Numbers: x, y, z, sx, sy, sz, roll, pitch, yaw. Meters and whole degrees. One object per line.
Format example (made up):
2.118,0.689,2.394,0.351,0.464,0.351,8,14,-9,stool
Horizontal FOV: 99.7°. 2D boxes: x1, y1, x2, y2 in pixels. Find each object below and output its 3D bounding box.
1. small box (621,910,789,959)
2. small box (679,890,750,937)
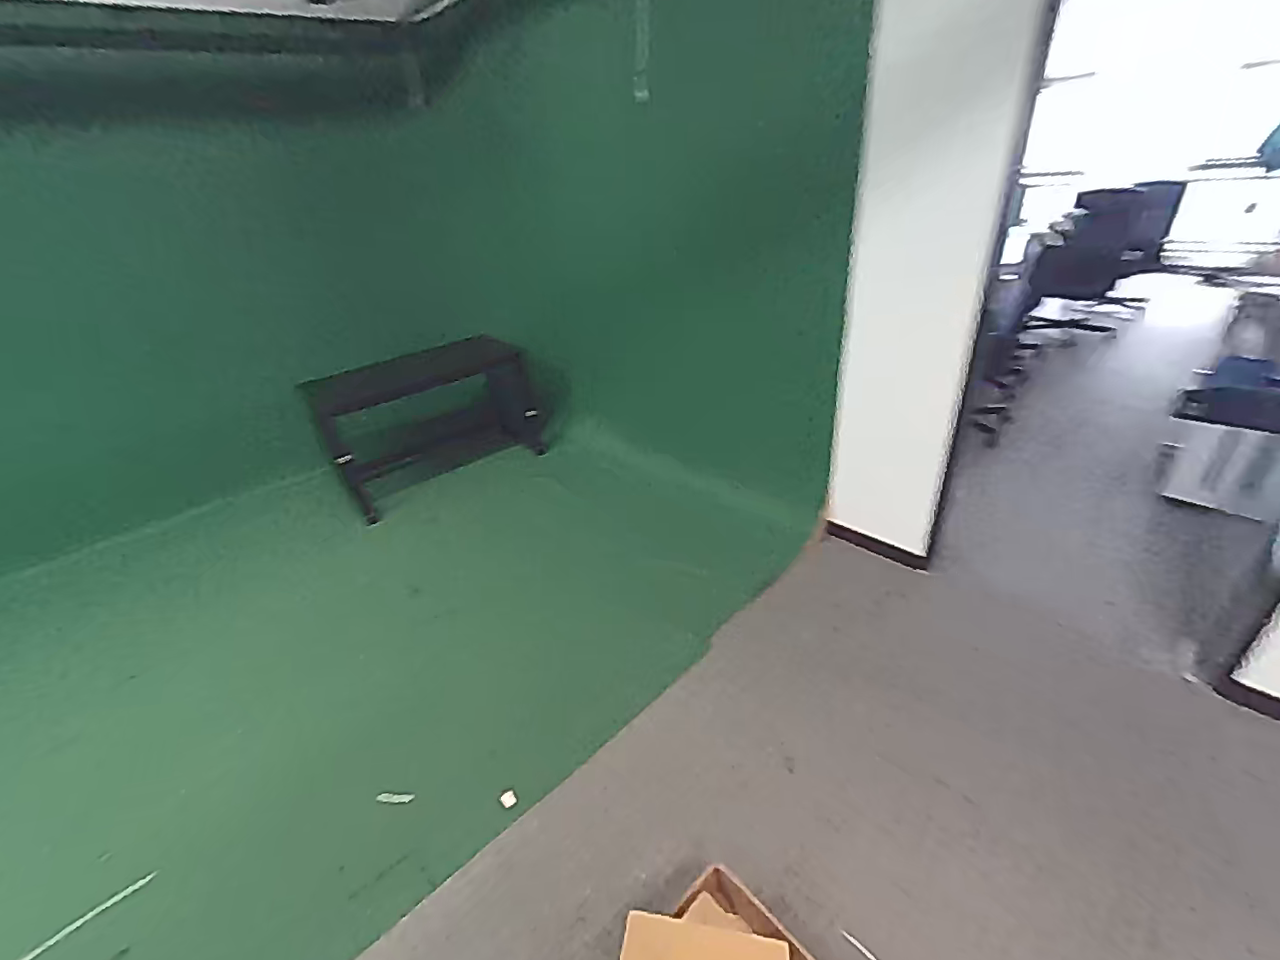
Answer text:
0.051,0.567,0.516,0.168,0.176,0.179,5,30,9,small box
0.131,0.972,1.056,0.179,0.176,0.168,-29,39,-34,small box
